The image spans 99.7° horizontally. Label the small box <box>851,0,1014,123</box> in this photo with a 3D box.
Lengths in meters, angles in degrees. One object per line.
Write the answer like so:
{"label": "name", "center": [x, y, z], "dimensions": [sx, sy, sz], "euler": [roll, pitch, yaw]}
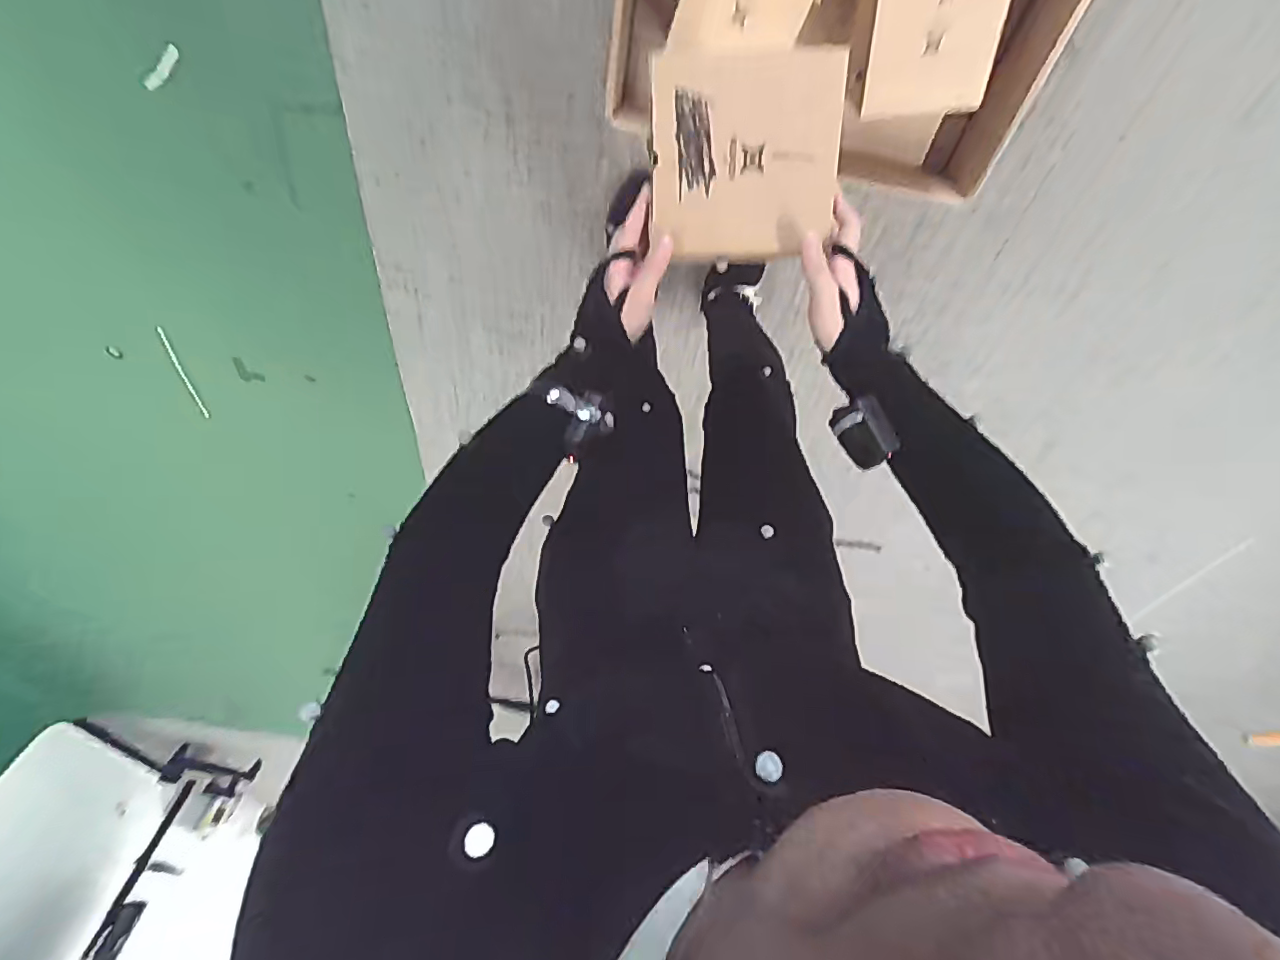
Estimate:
{"label": "small box", "center": [0.408, -0.643, 0.780], "dimensions": [0.168, 0.176, 0.179], "euler": [0, 134, 9]}

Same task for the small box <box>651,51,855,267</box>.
{"label": "small box", "center": [0.102, -0.315, 0.566], "dimensions": [0.179, 0.176, 0.168], "euler": [0, 109, 2]}
